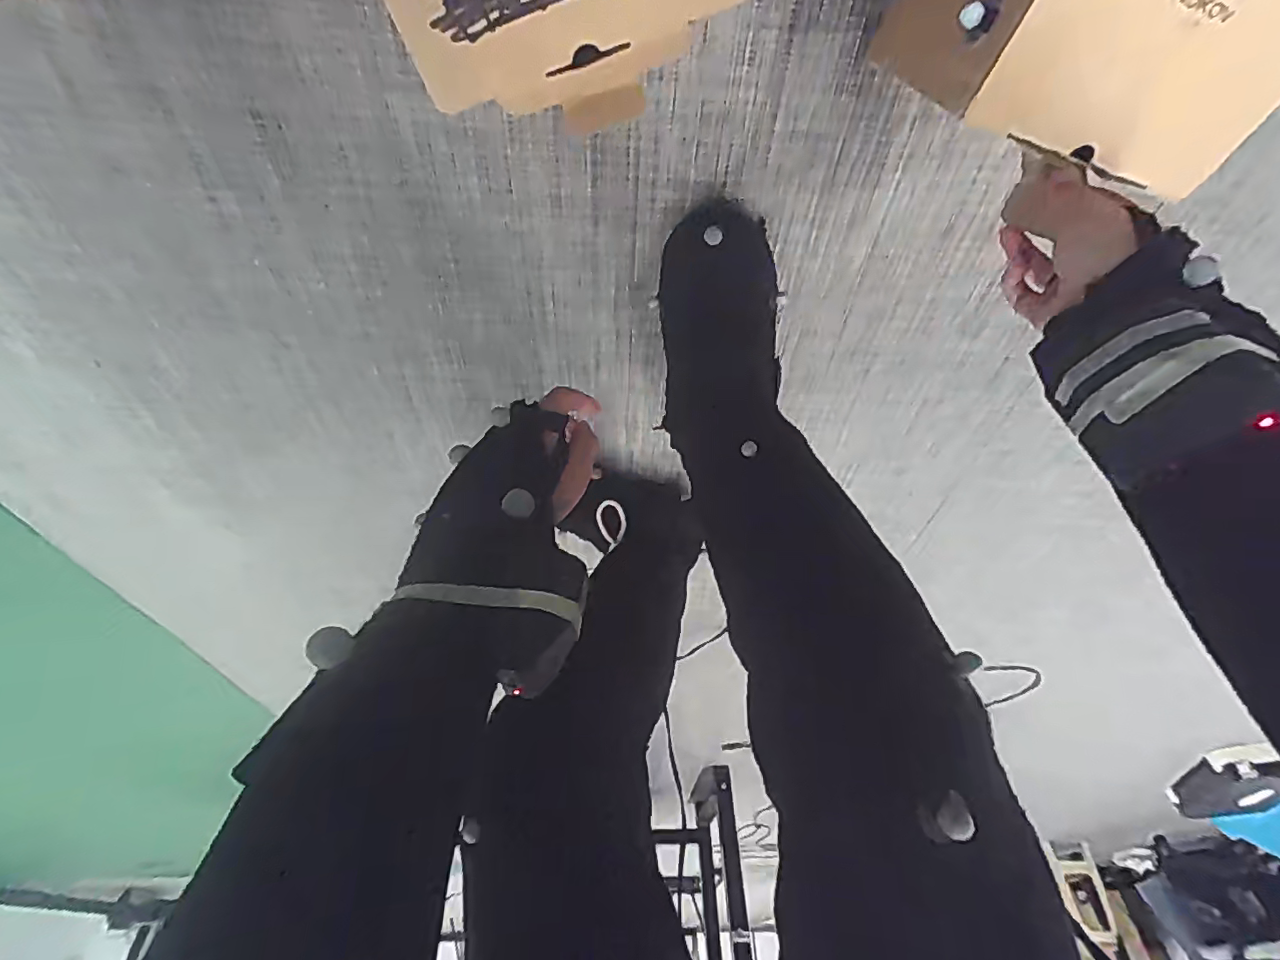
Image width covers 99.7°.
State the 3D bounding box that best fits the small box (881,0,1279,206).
[{"bbox_3d":[0.271,-0.294,0.306,0.168,0.176,0.179,9,136,-12],"label":"small box"}]
